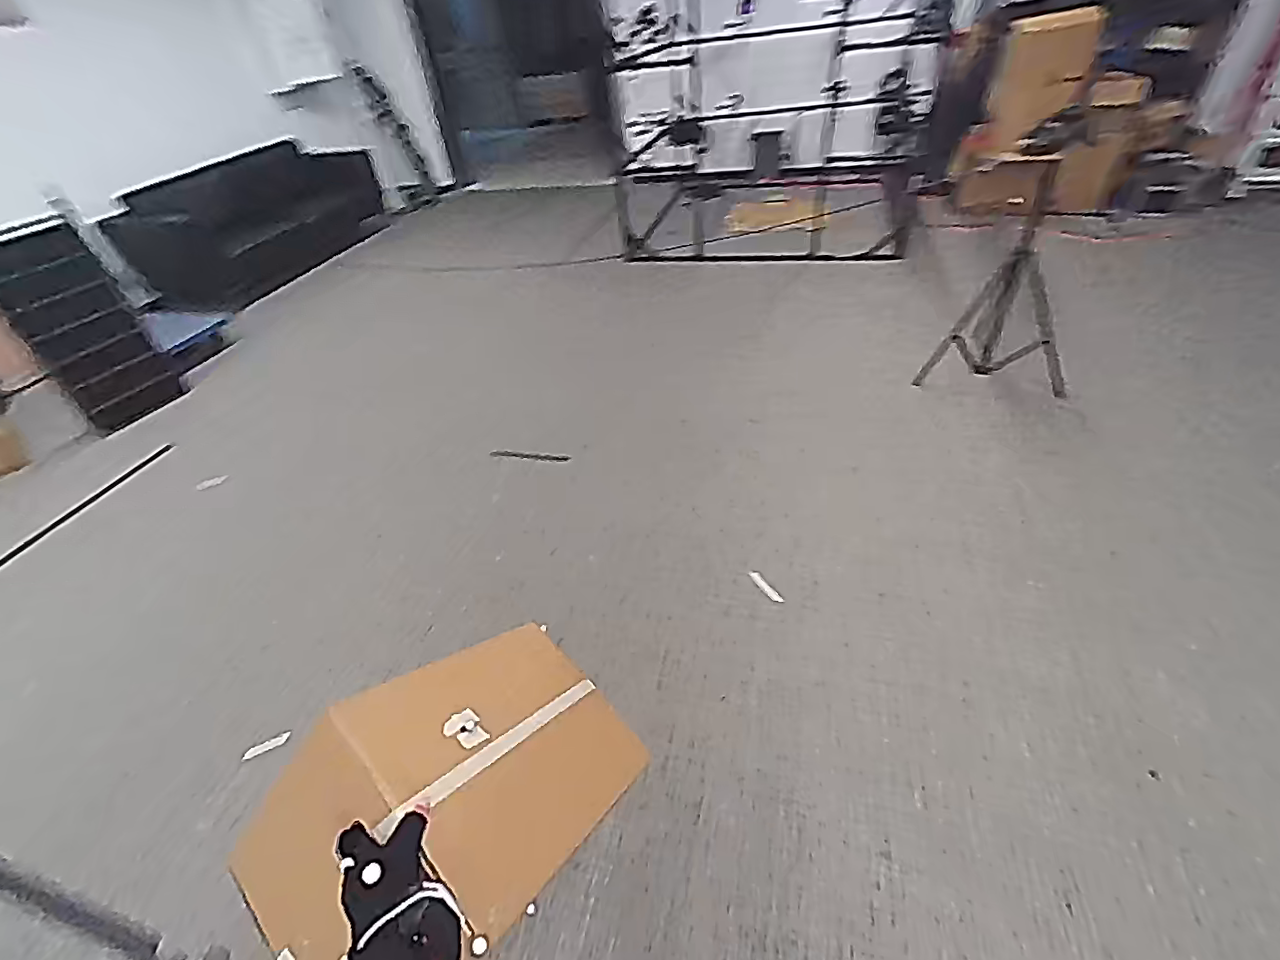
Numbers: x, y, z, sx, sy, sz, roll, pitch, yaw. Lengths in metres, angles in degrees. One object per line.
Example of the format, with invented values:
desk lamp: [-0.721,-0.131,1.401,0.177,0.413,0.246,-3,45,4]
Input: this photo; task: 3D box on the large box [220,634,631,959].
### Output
large box: [-0.283,0.495,0.798,0.320,0.320,0.408,42,17,18]
